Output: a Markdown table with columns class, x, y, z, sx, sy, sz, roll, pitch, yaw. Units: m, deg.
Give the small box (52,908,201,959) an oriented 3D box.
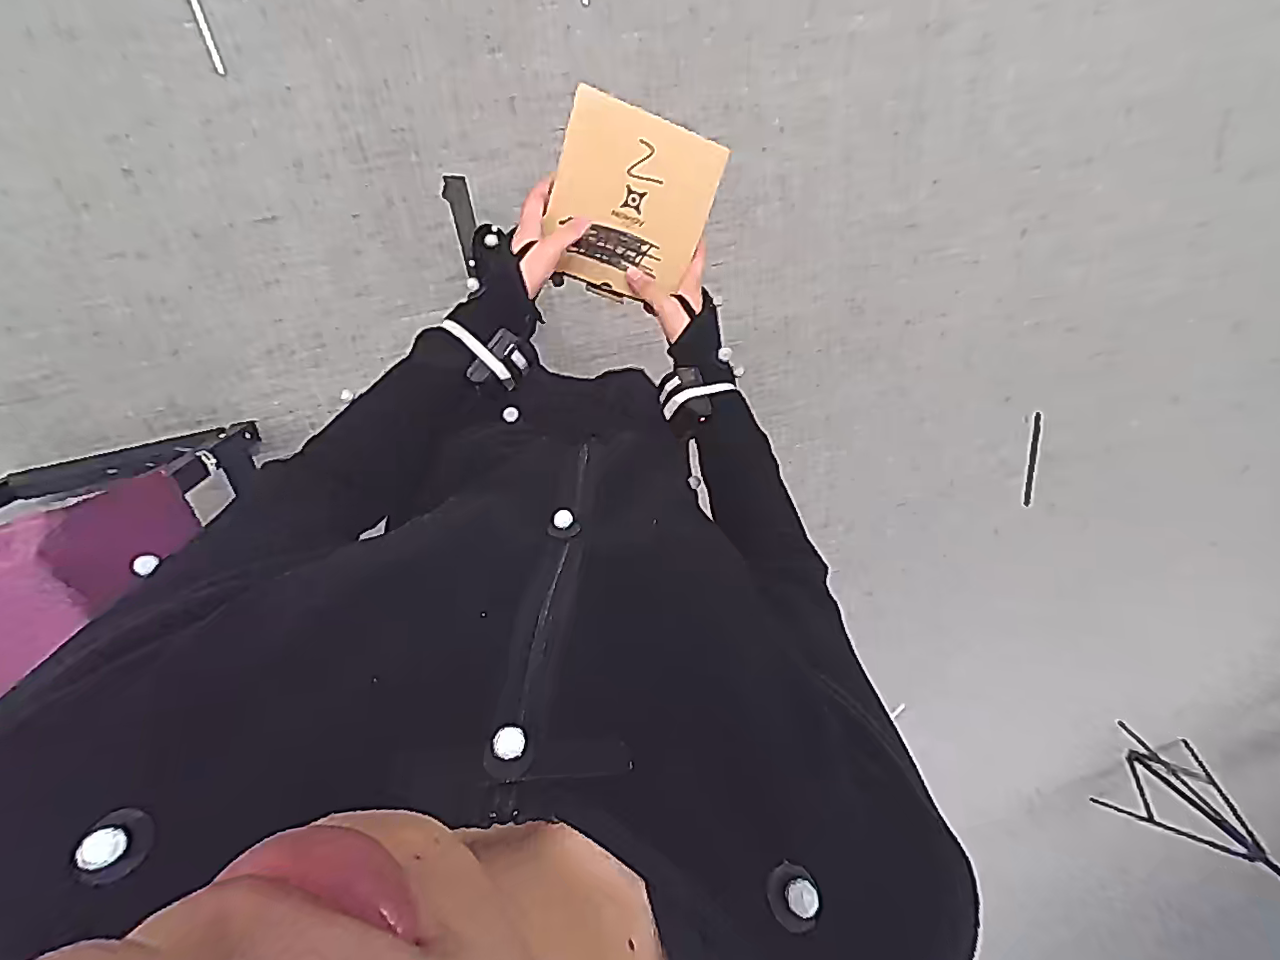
| class | x | y | z | sx | sy | sz | roll | pitch | yaw |
| --- | --- | --- | --- | --- | --- | --- | --- | --- | --- |
| small box | -0.954 | 0.924 | 0.968 | 0.179 | 0.176 | 0.168 | -14 | 115 | -8 |
